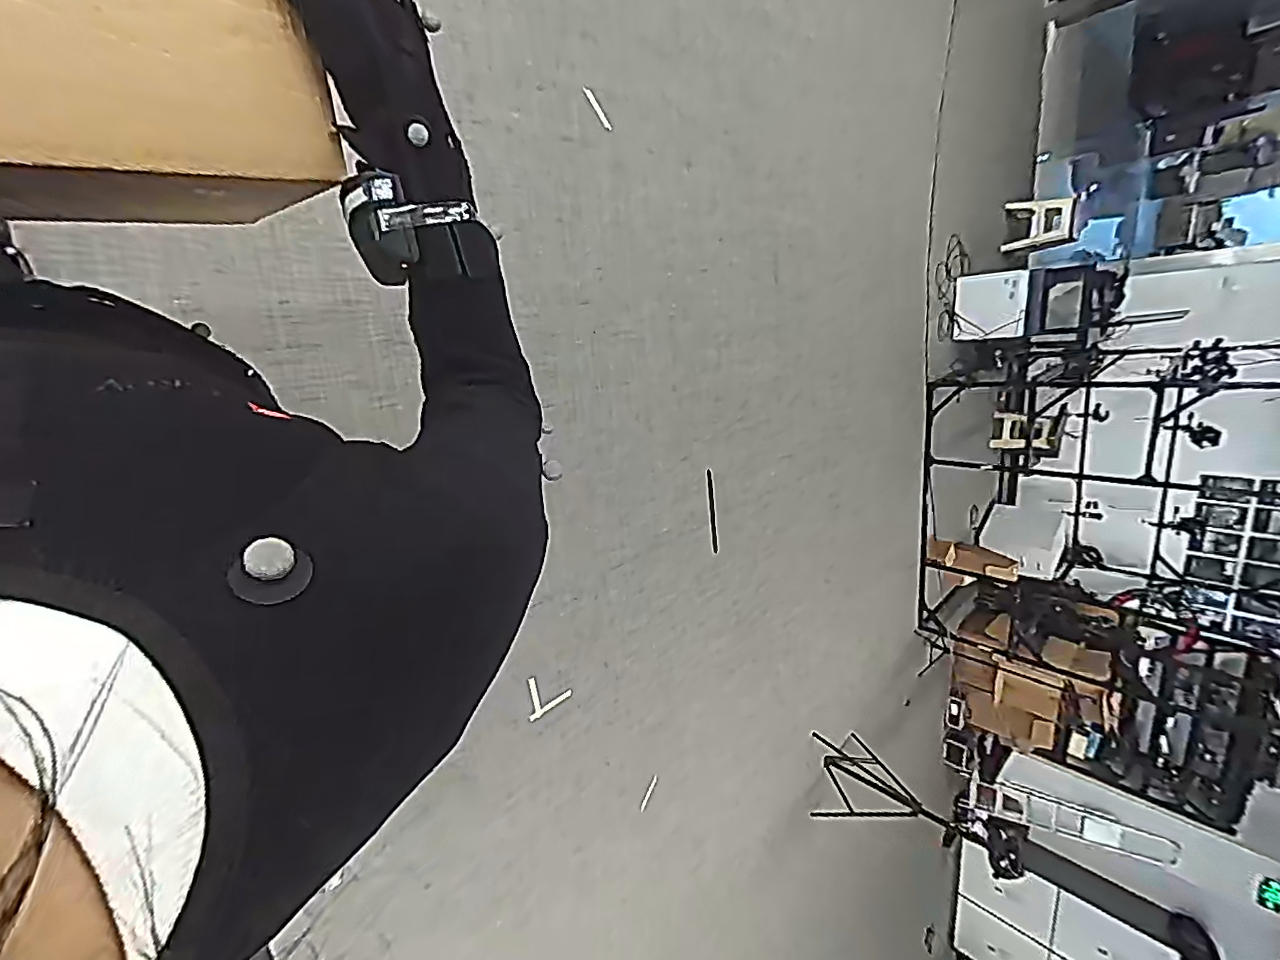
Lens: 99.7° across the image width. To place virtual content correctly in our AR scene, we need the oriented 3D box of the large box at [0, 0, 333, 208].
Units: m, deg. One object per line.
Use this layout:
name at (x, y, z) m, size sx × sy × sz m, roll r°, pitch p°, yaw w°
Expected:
large box at (-0.467, -0.334, 0.293) m, size 0.408 × 0.320 × 0.320 m, roll -23°, pitch 121°, yaw -41°
